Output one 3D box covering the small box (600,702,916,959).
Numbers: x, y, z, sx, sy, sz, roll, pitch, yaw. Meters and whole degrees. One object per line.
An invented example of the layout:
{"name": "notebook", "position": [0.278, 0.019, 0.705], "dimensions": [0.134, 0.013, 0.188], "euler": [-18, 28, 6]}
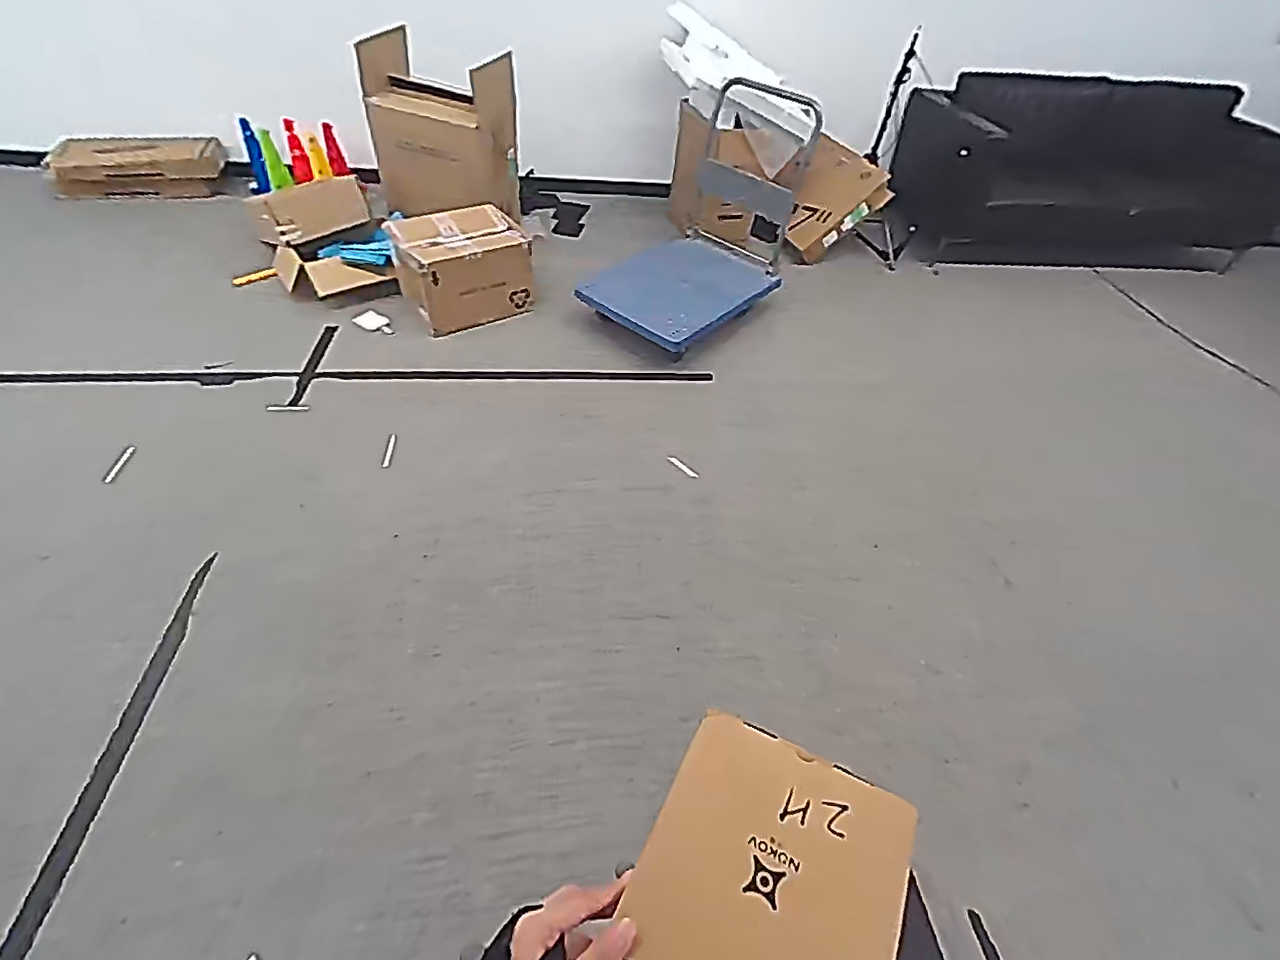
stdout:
{"name": "small box", "position": [0.090, 0.318, 0.417], "dimensions": [0.168, 0.176, 0.179], "euler": [19, 47, 22]}
